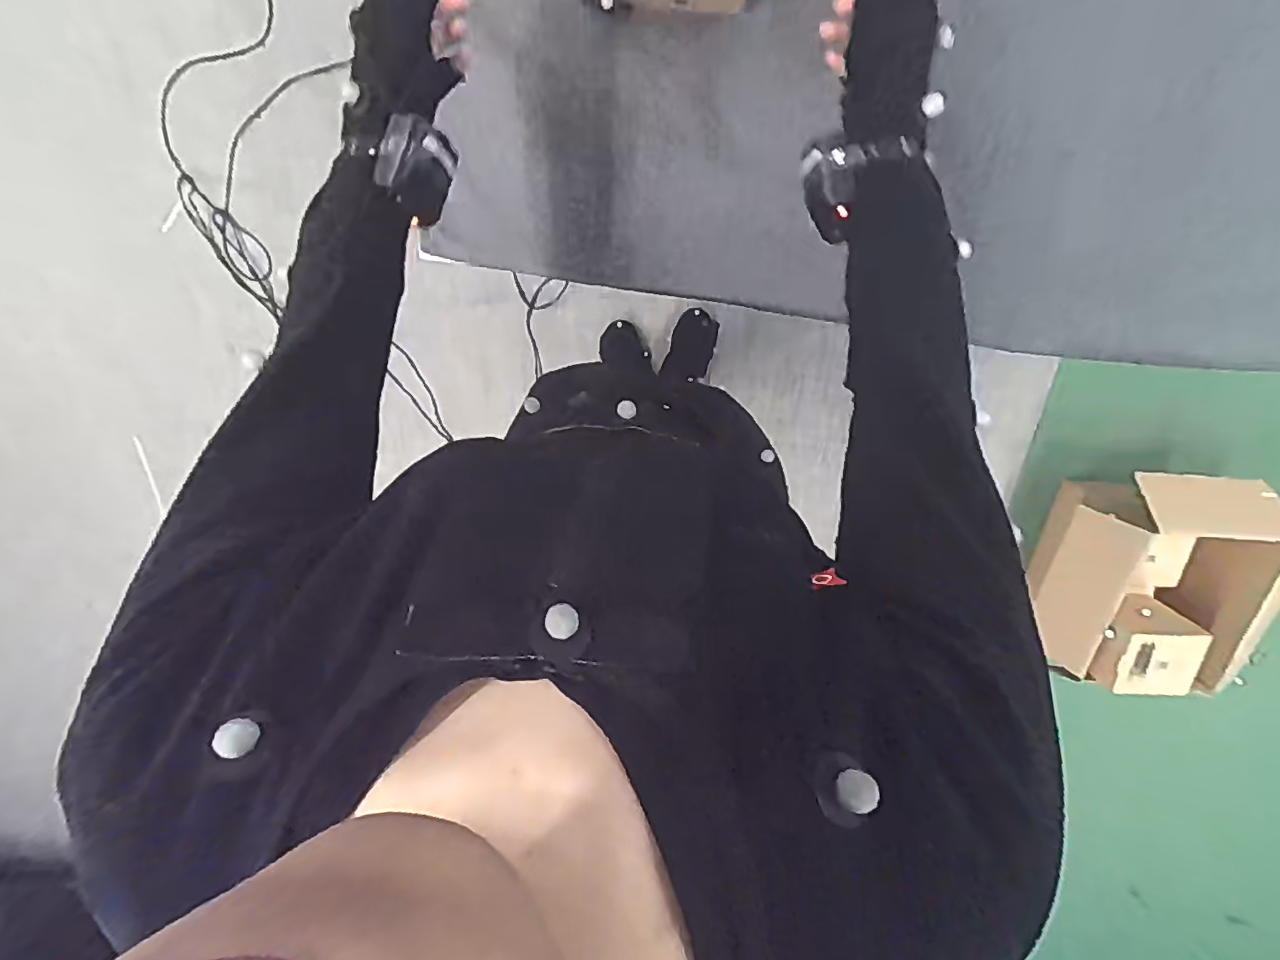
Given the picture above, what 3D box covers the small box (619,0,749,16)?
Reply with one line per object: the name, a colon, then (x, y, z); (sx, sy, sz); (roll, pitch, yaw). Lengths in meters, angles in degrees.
small box: (0.030, -0.524, 0.443); (0.168, 0.176, 0.179); (8, 112, 2)
